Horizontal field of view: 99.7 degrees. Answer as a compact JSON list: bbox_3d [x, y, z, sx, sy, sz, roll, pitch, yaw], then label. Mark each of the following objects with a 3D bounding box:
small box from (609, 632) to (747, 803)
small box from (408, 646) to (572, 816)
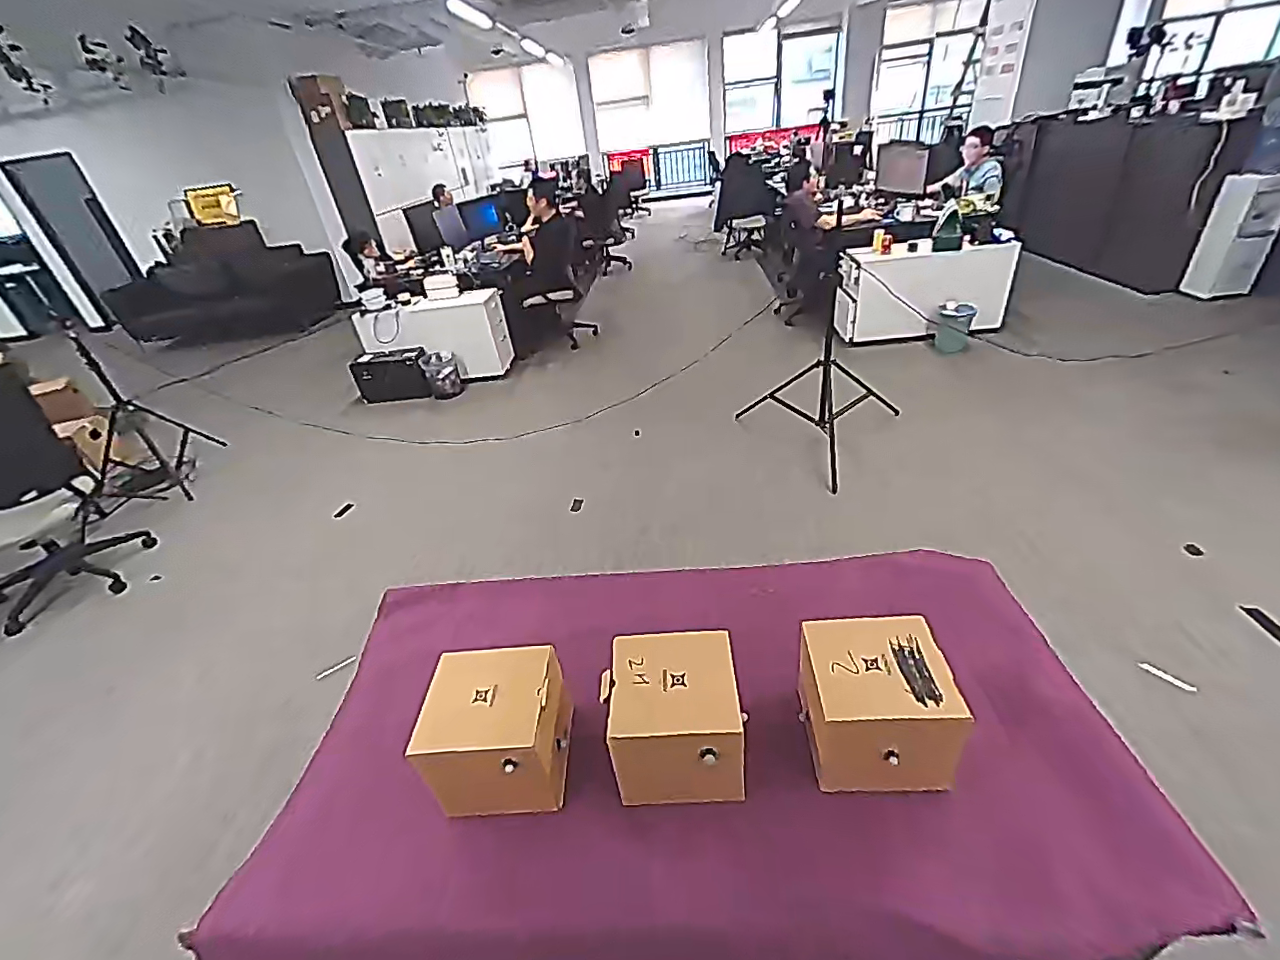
[{"bbox_3d":[0.057,0.345,0.789,0.179,0.176,0.168,-6,32,4],"label":"small box"},{"bbox_3d":[-0.208,0.374,0.806,0.179,0.176,0.168,-6,33,3],"label":"small box"}]
